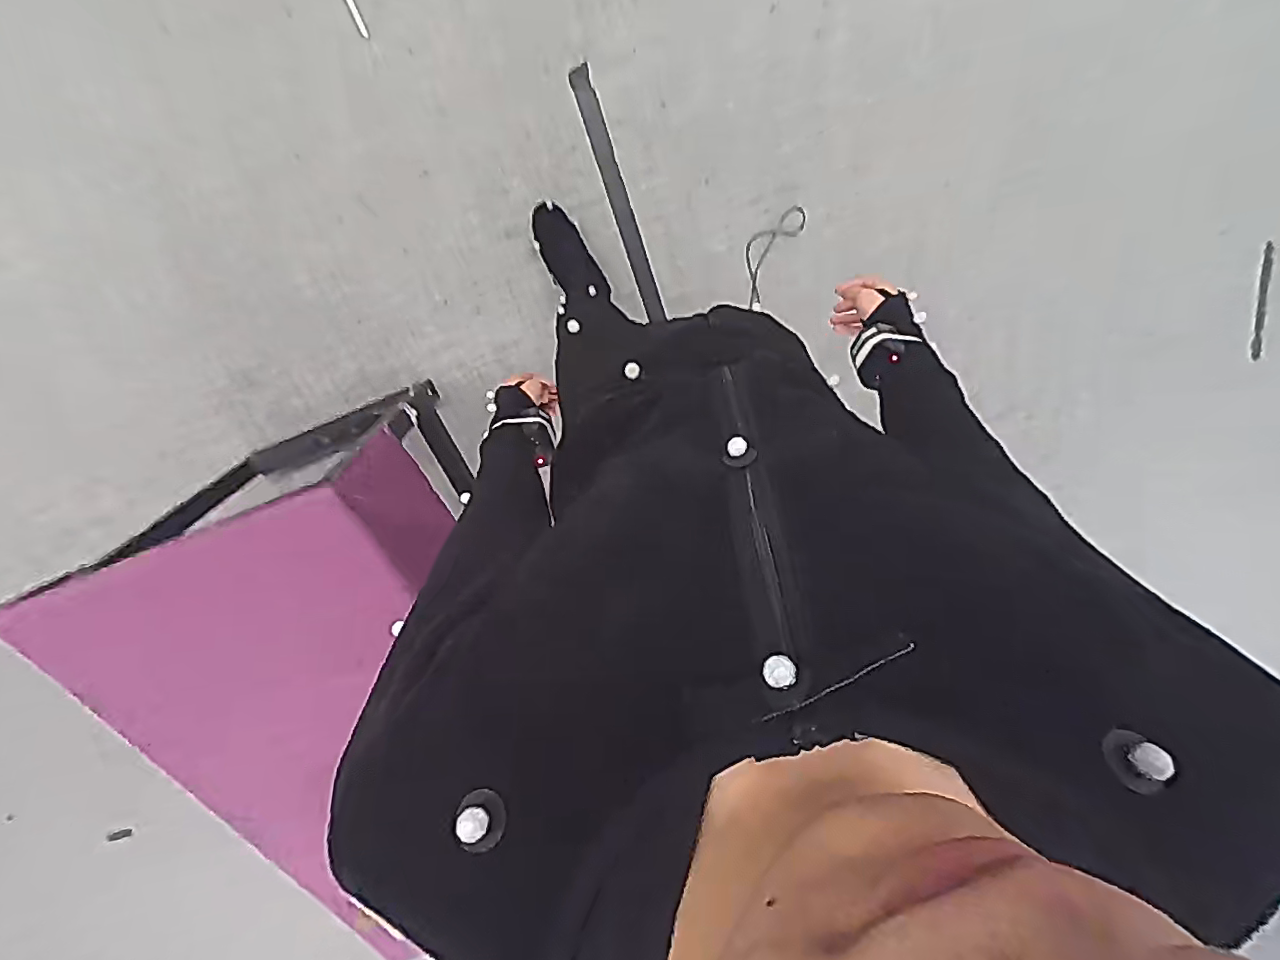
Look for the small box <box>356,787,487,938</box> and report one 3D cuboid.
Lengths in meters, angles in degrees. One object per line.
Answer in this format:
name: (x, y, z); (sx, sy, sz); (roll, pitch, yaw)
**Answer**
small box: (-0.424, 0.761, 1.090); (0.179, 0.176, 0.168); (-23, 114, 3)
